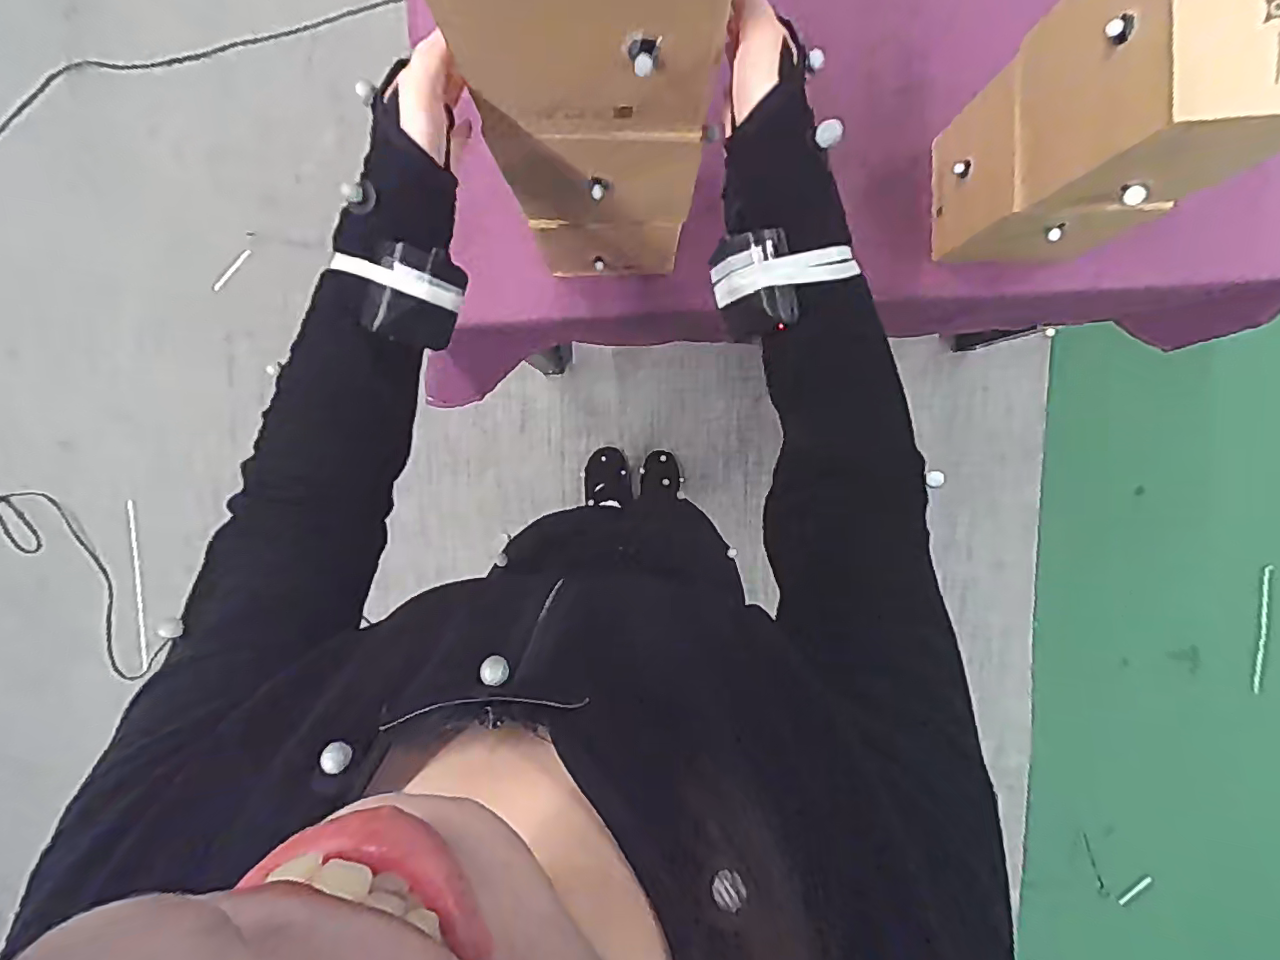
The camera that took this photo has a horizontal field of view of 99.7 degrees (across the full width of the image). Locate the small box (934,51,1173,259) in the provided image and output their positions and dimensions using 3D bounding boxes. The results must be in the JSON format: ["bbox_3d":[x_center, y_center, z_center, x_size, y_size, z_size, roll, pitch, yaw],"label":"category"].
[{"bbox_3d":[0.482,-0.377,0.654,0.179,0.176,0.168,-1,95,0],"label":"small box"}]

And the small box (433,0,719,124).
[{"bbox_3d":[-0.035,-0.348,0.327,0.168,0.176,0.179,0,94,-1],"label":"small box"}]

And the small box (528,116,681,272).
[{"bbox_3d":[-0.040,-0.367,0.655,0.168,0.176,0.179,-2,95,0],"label":"small box"}]

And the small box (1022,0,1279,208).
[{"bbox_3d":[0.482,-0.374,0.489,0.168,0.176,0.179,-4,95,0],"label":"small box"}]
